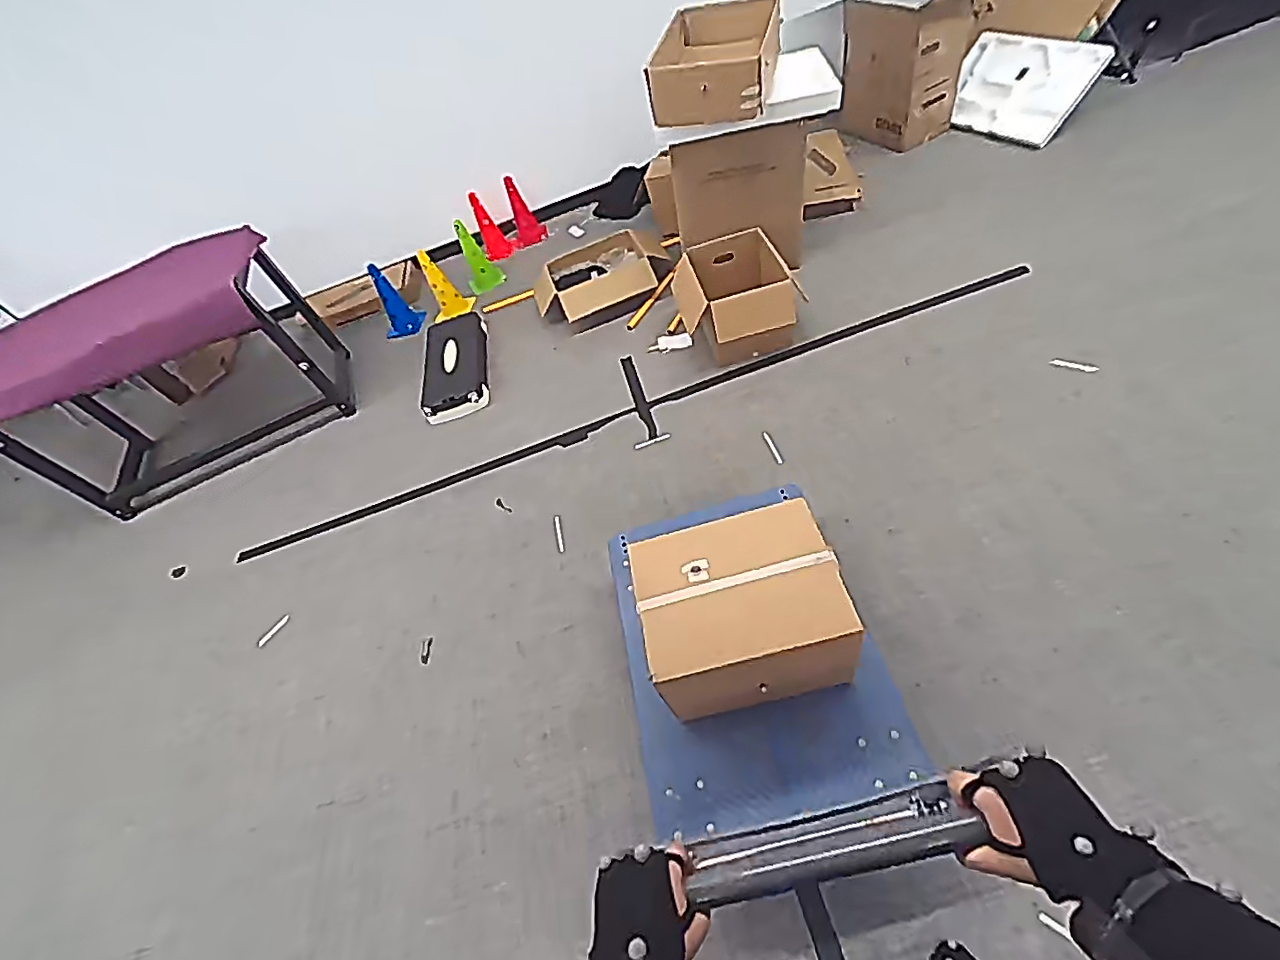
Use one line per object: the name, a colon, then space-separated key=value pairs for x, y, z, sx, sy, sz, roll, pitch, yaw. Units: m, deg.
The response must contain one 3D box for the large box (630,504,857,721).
large box: x=0.229 y=0.310 z=1.228 sx=0.408 sy=0.320 sz=0.320 roll=-17 pitch=50 yaw=5
